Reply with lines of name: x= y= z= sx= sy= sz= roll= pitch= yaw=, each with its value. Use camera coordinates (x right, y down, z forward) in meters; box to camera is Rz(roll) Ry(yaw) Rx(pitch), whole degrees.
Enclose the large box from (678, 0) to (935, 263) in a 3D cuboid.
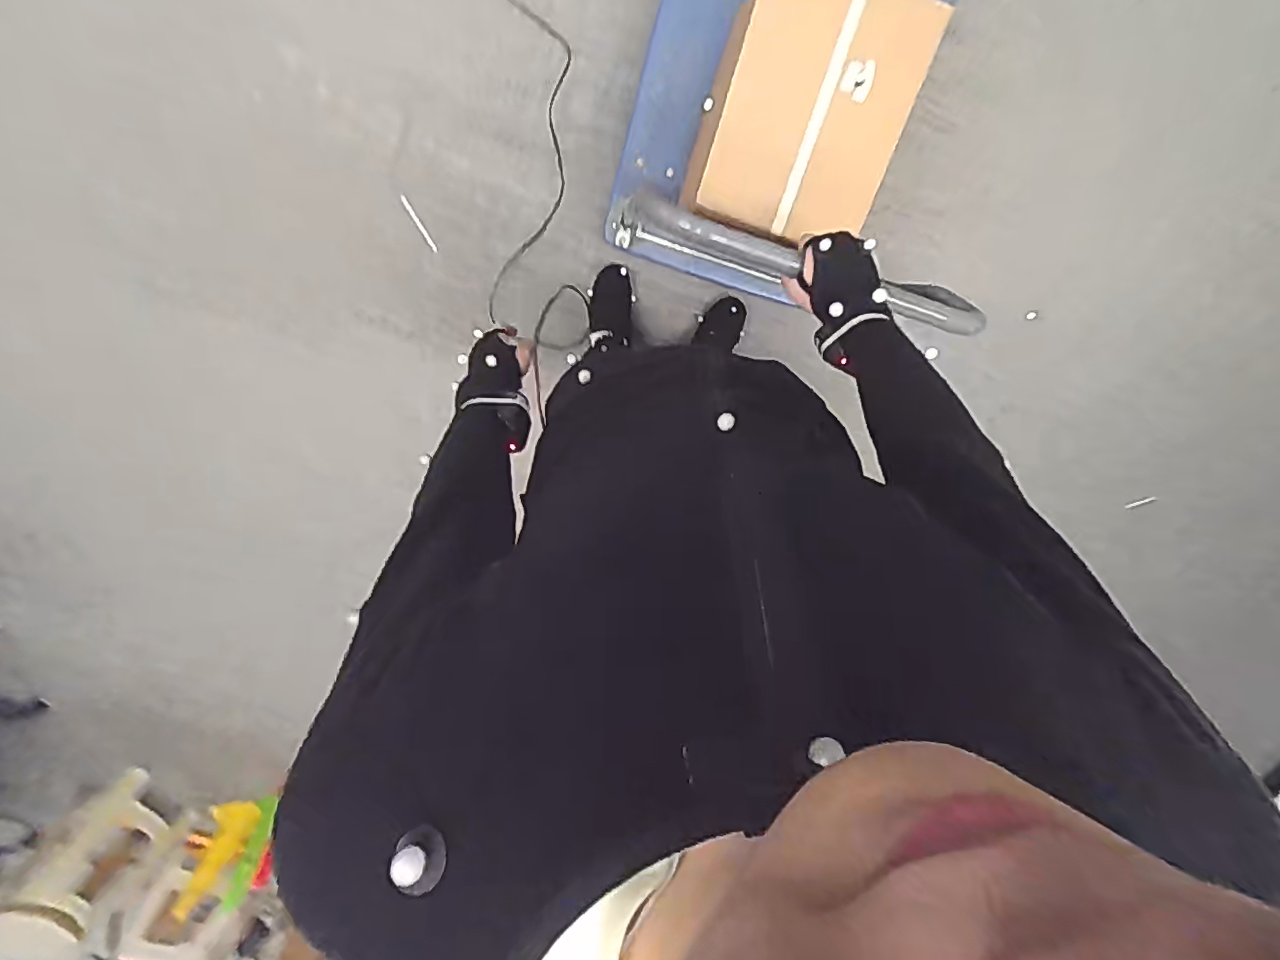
large box: x=0.285 y=-0.679 z=1.077 sx=0.320 sy=0.320 sz=0.408 roll=14 pitch=111 yaw=-9
